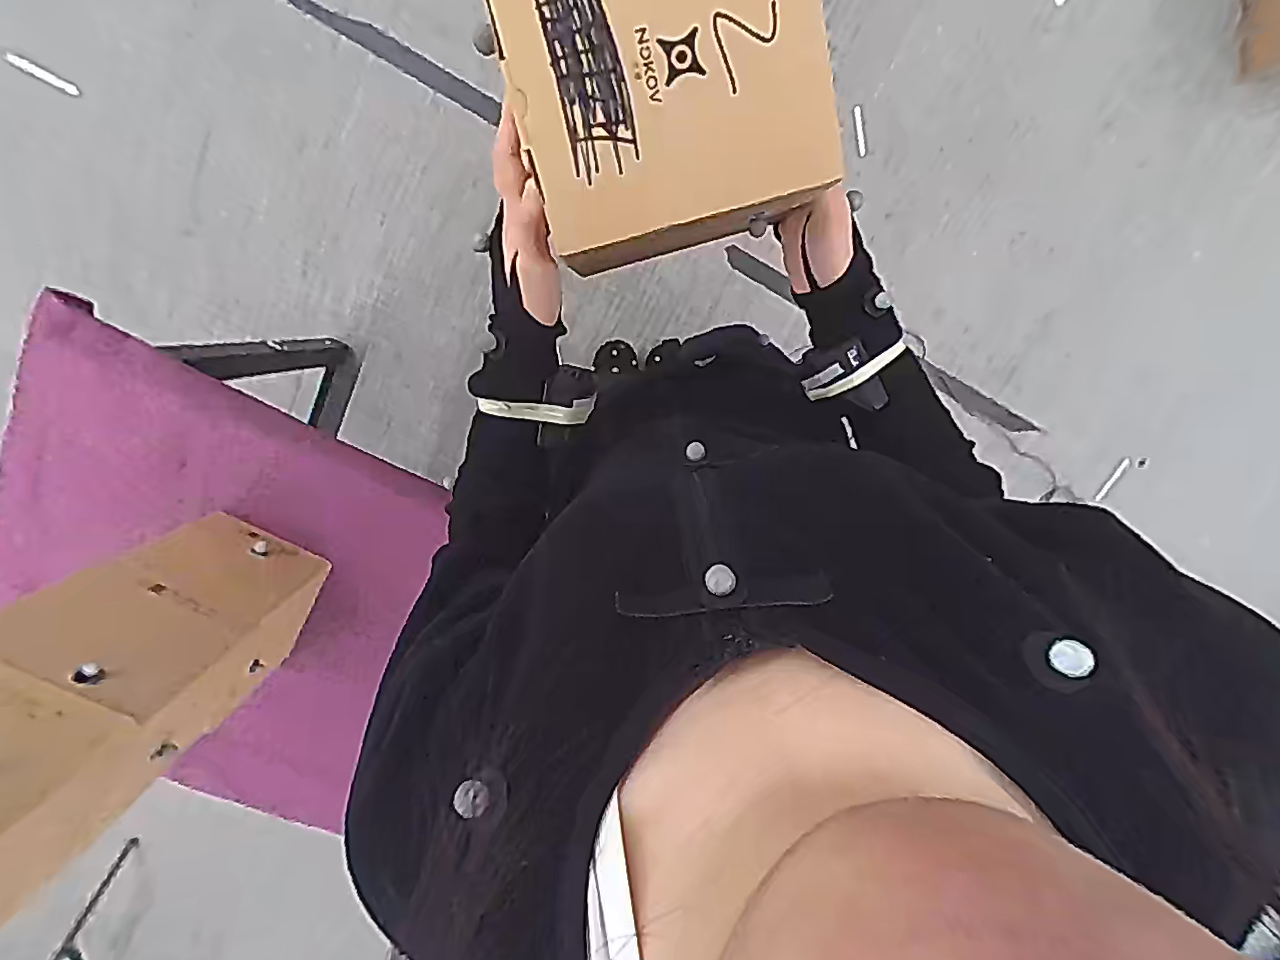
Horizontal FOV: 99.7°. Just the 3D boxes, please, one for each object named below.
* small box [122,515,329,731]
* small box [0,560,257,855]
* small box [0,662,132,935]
[{"bbox_3d":[-0.545,0.175,0.702,0.168,0.176,0.179,29,102,-10],"label":"small box"},{"bbox_3d":[-0.536,0.214,0.544,0.168,0.176,0.179,31,103,-11],"label":"small box"},{"bbox_3d":[-0.527,0.252,0.385,0.168,0.176,0.179,30,103,-11],"label":"small box"}]
